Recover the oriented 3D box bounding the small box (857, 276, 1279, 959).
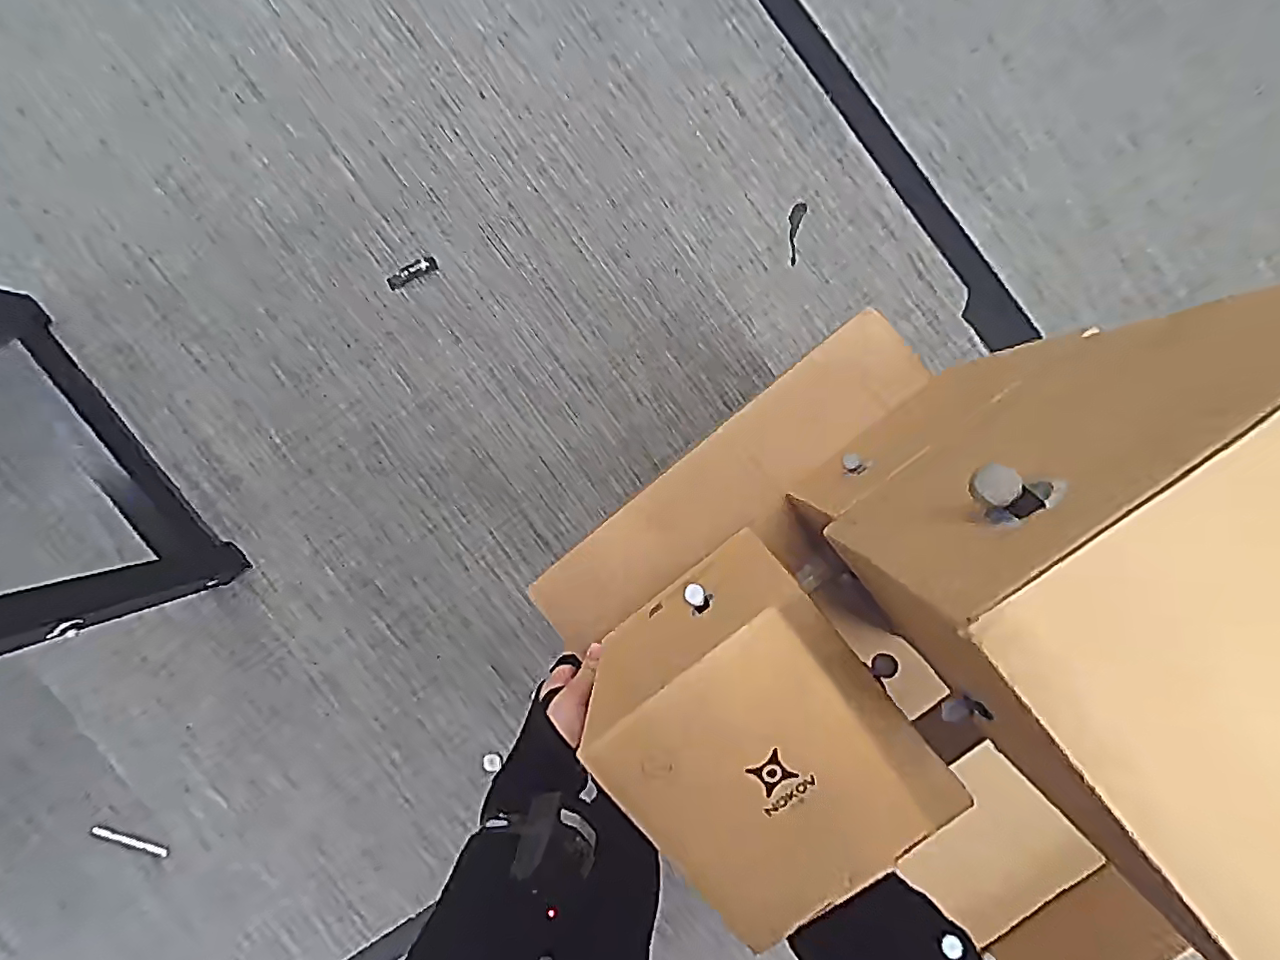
[{"bbox_3d":[0.211,0.041,0.211,0.179,0.176,0.168,-39,90,7],"label":"small box"}]

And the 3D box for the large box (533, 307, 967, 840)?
[{"bbox_3d":[0.156,0.081,0.627,0.408,0.320,0.320,-40,89,6],"label":"large box"}]
